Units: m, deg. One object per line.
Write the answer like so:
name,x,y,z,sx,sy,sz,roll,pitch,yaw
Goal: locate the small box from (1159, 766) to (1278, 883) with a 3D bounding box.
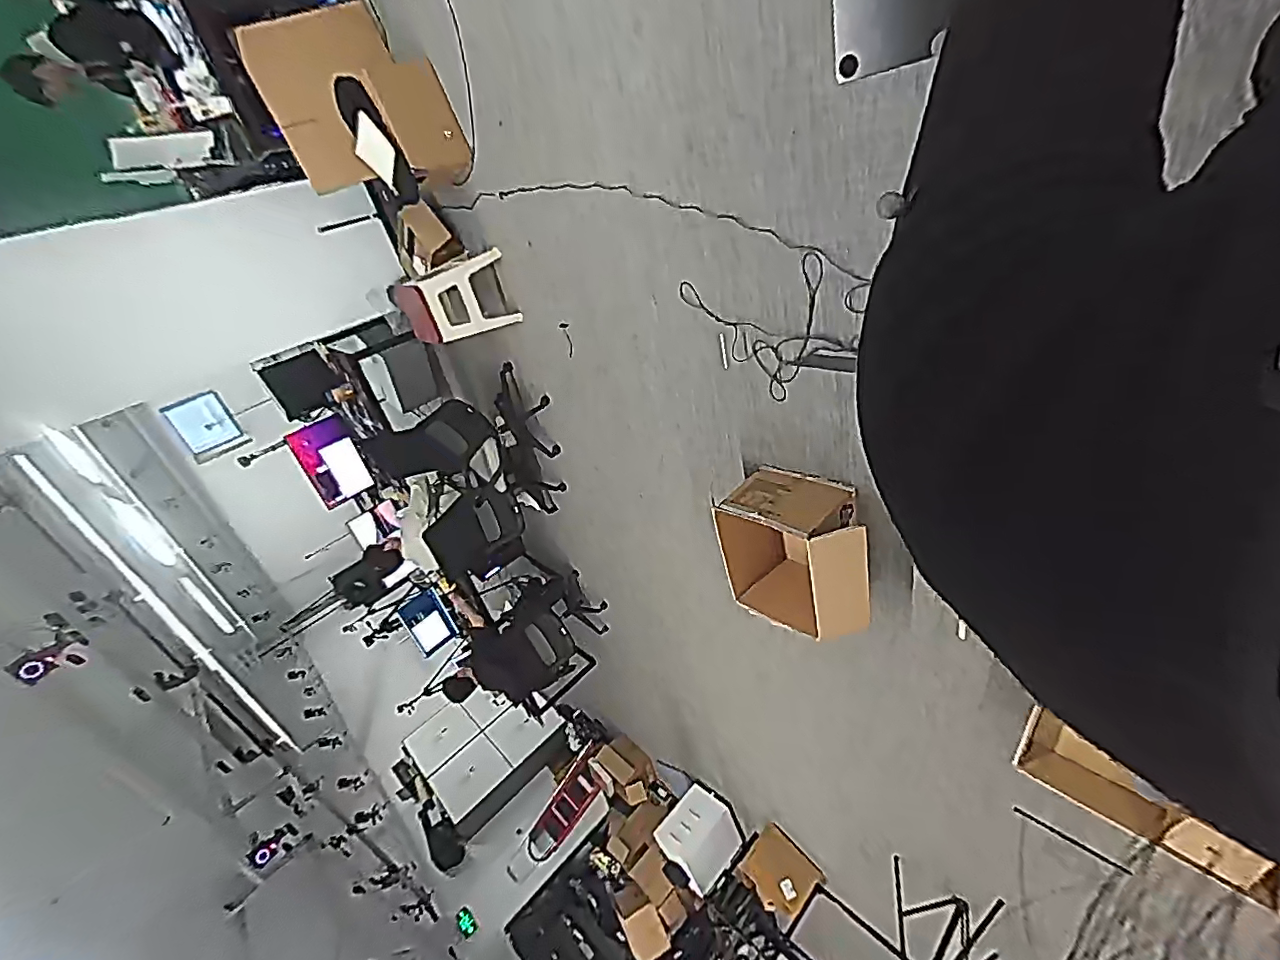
small box,1.569,0.927,1.467,0.179,0.176,0.168,25,136,42
